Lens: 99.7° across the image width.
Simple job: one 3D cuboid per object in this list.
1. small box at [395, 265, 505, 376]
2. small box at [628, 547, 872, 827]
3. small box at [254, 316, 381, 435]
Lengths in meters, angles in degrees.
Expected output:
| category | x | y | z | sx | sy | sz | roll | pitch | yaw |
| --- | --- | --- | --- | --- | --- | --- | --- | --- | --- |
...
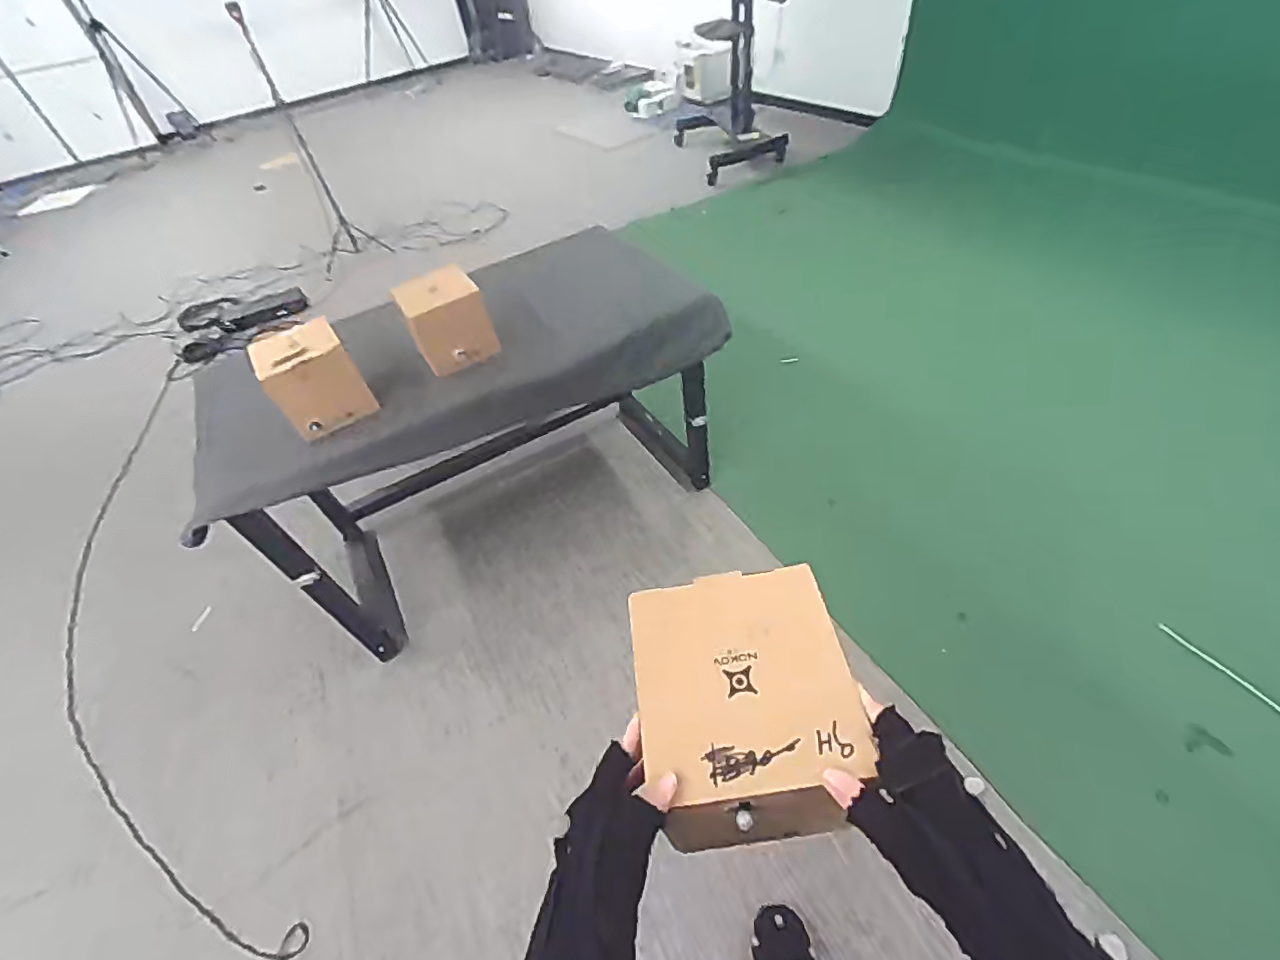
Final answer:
| category | x | y | z | sx | sy | sz | roll | pitch | yaw |
| --- | --- | --- | --- | --- | --- | --- | --- | --- | --- |
| small box | -0.445 | -0.376 | 1.278 | 0.168 | 0.176 | 0.179 | -30 | 51 | -16 |
| small box | 0.087 | 0.190 | 0.494 | 0.168 | 0.176 | 0.179 | -11 | 46 | 3 |
| small box | -0.694 | -0.222 | 1.174 | 0.168 | 0.176 | 0.179 | -31 | 48 | -19 |
